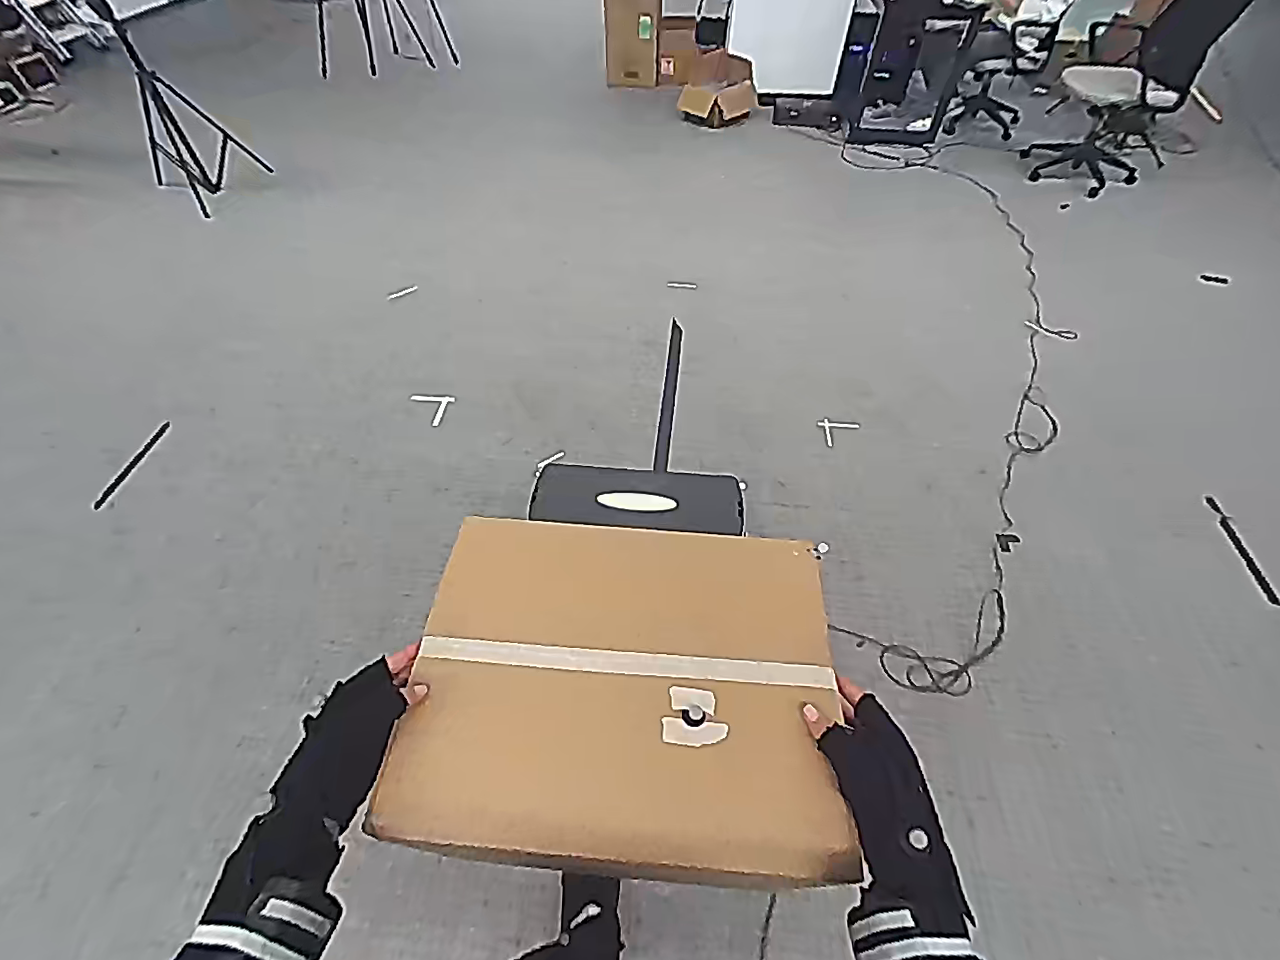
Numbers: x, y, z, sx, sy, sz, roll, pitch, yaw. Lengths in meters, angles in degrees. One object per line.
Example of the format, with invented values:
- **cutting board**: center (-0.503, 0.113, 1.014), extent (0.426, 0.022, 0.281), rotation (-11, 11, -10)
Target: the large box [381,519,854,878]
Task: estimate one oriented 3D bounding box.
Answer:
- **large box**: center (-0.016, 0.270, 0.653), extent (0.408, 0.320, 0.320), rotation (5, 52, 1)
